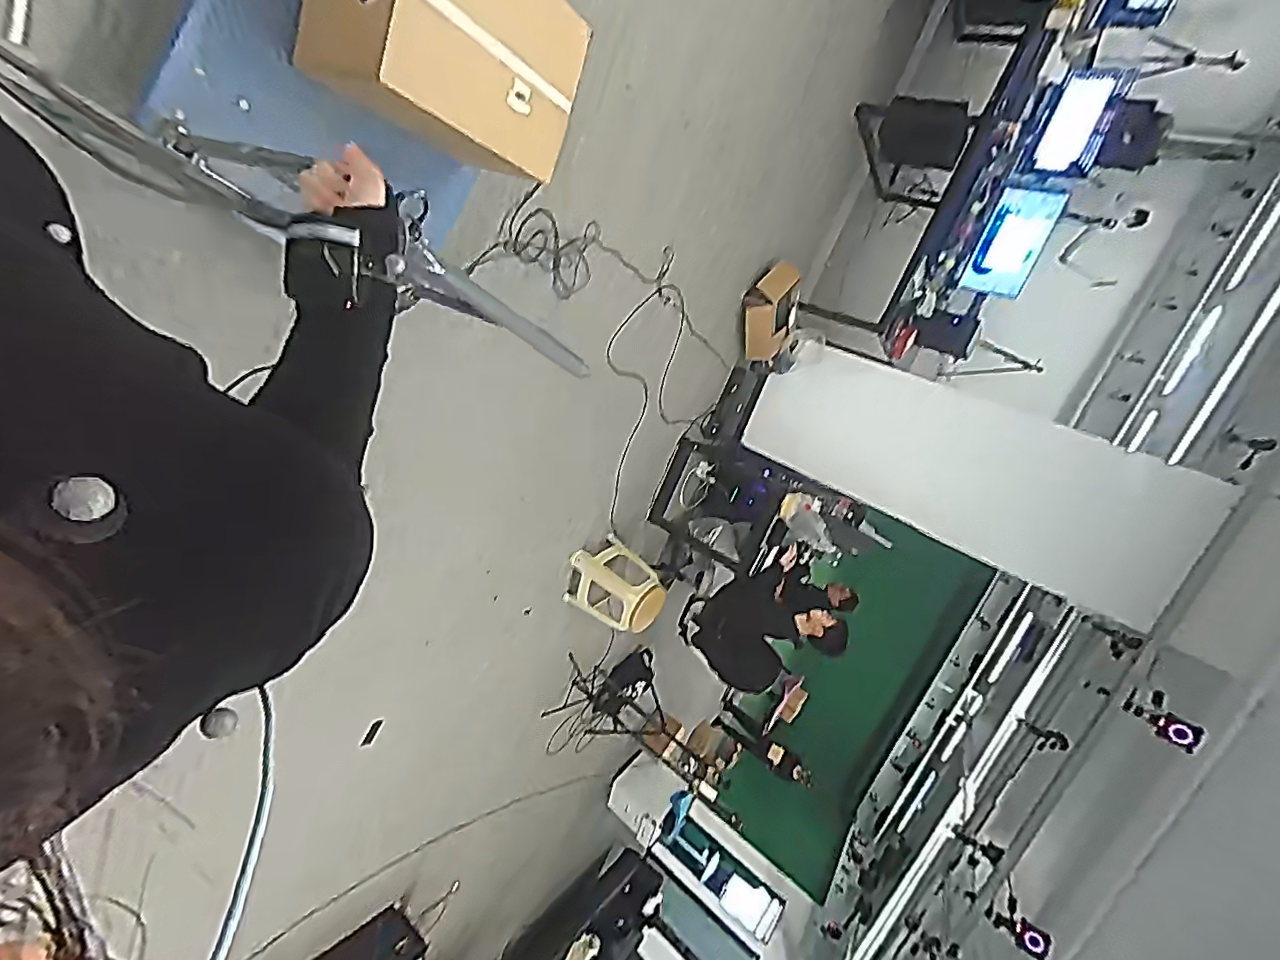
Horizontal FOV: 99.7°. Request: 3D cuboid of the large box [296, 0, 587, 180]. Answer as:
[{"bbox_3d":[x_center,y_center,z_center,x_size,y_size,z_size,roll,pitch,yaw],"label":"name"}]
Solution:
[{"bbox_3d":[-0.380,-0.850,1.062,0.408,0.320,0.320,-5,120,-57],"label":"large box"}]
